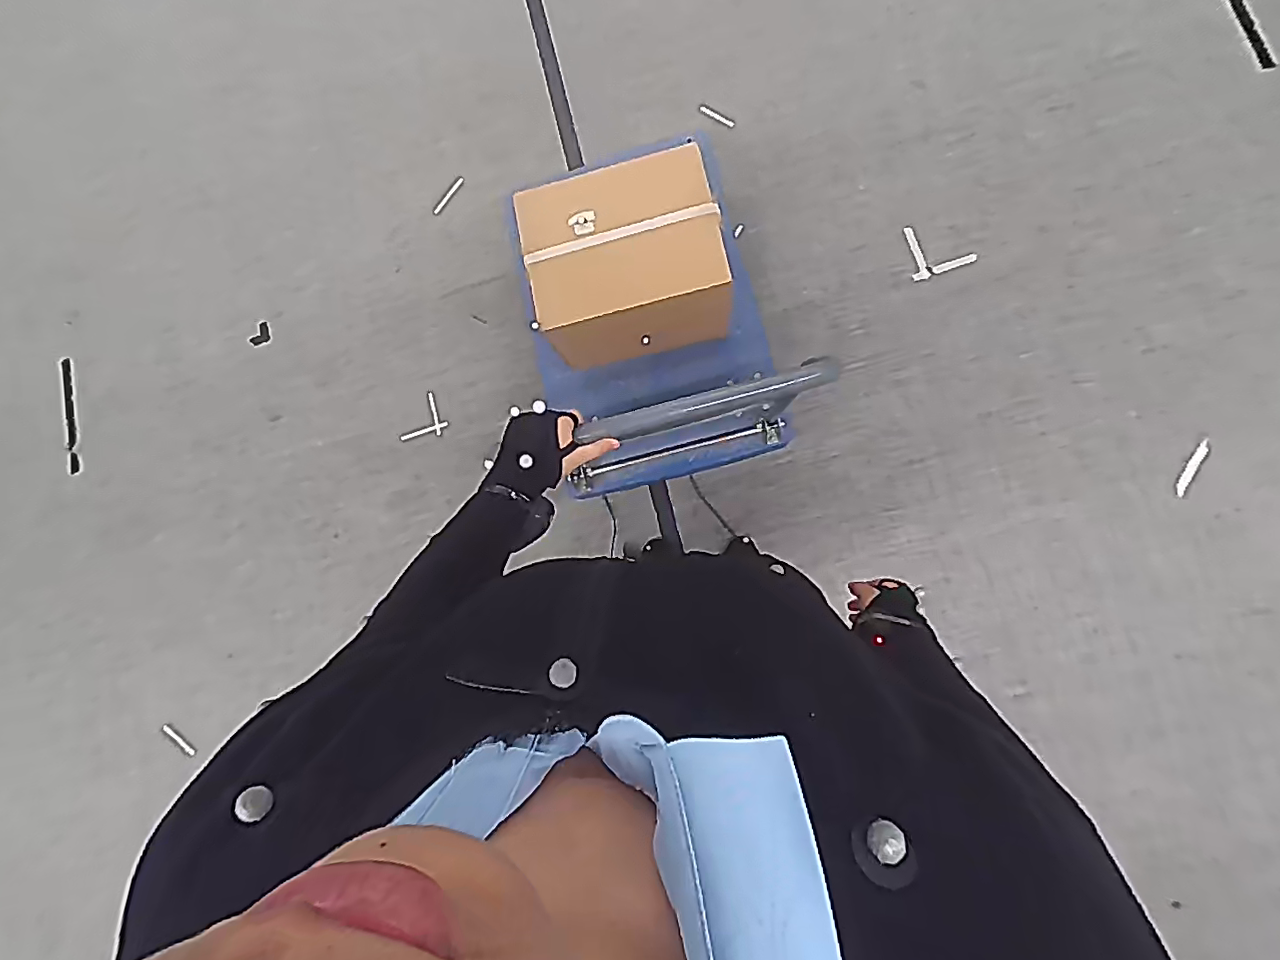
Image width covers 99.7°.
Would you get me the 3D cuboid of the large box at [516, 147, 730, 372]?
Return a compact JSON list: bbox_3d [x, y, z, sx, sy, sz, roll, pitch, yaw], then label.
[{"bbox_3d":[-0.022,-0.484,1.268,0.408,0.320,0.320,-13,82,7],"label":"large box"}]
